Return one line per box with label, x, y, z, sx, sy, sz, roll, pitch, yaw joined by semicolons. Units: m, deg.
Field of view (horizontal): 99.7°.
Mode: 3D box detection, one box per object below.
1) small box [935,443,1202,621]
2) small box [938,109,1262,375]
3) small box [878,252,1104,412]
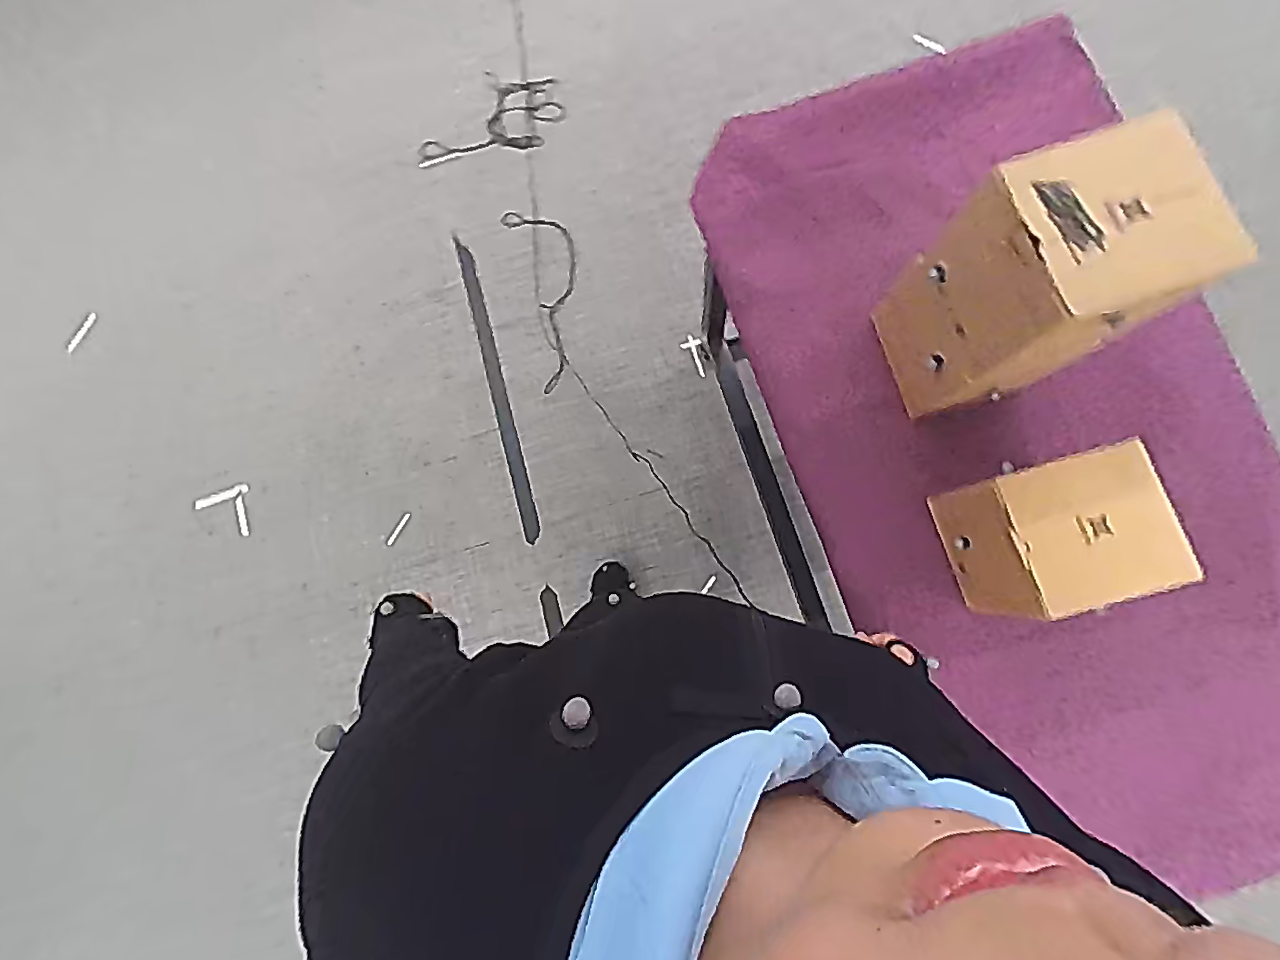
small box;0.517;0.067;0.683;0.179;0.176;0.168;-16;80;1
small box;0.448;-0.230;0.568;0.179;0.176;0.168;-18;81;1
small box;0.453;-0.203;0.730;0.168;0.176;0.179;-16;80;1
